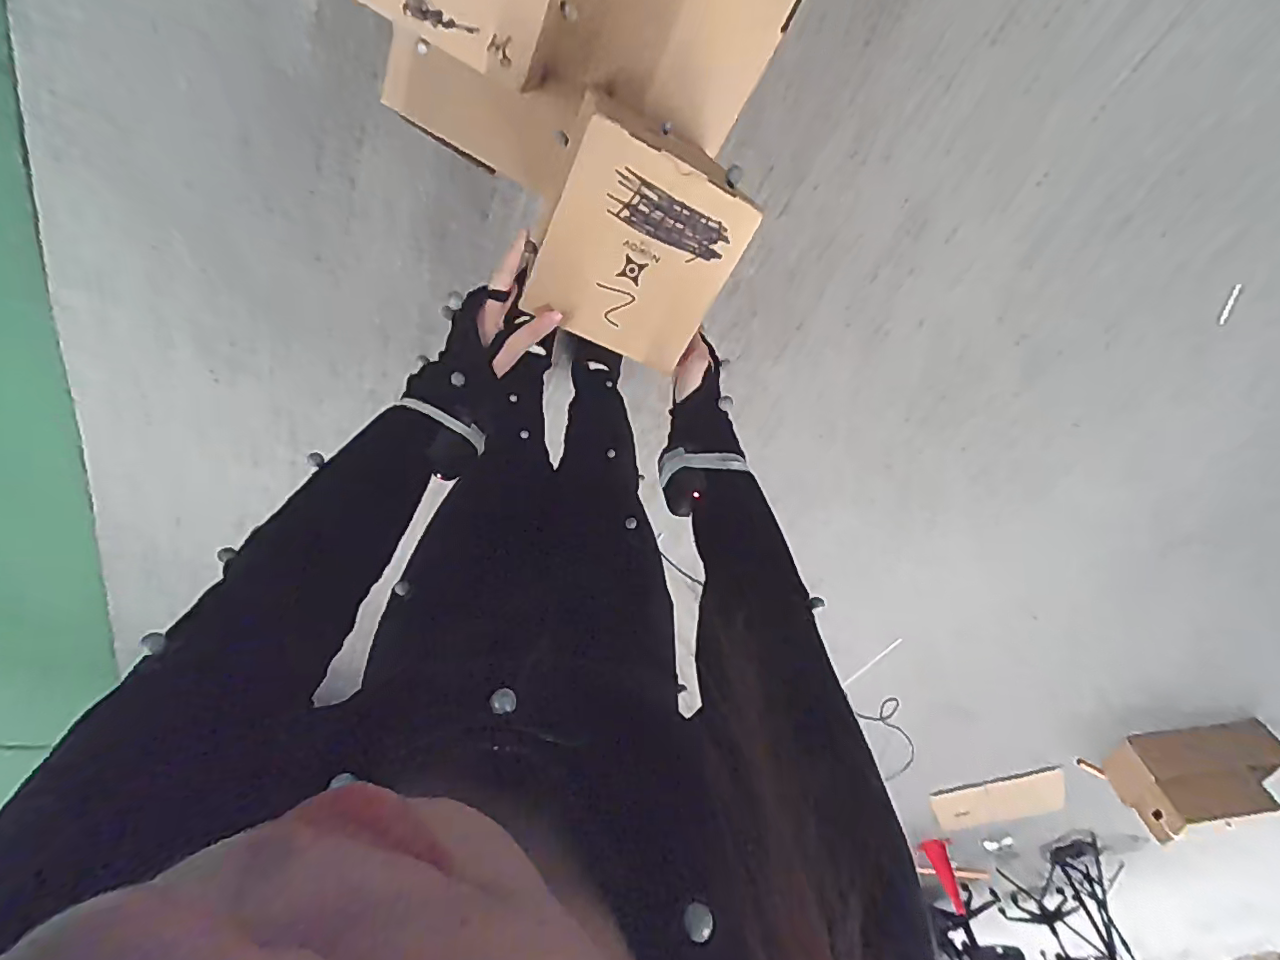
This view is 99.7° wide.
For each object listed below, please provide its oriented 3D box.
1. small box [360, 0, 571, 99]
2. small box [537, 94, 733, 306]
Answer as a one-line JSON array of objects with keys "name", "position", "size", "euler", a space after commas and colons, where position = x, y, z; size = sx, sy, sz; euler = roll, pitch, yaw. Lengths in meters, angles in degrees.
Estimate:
[{"name": "small box", "position": [-0.154, -0.517, 0.534], "size": [0.168, 0.176, 0.179], "euler": [21, 122, -19]}, {"name": "small box", "position": [-0.013, -0.352, 0.675], "size": [0.179, 0.176, 0.168], "euler": [19, 123, -19]}]
